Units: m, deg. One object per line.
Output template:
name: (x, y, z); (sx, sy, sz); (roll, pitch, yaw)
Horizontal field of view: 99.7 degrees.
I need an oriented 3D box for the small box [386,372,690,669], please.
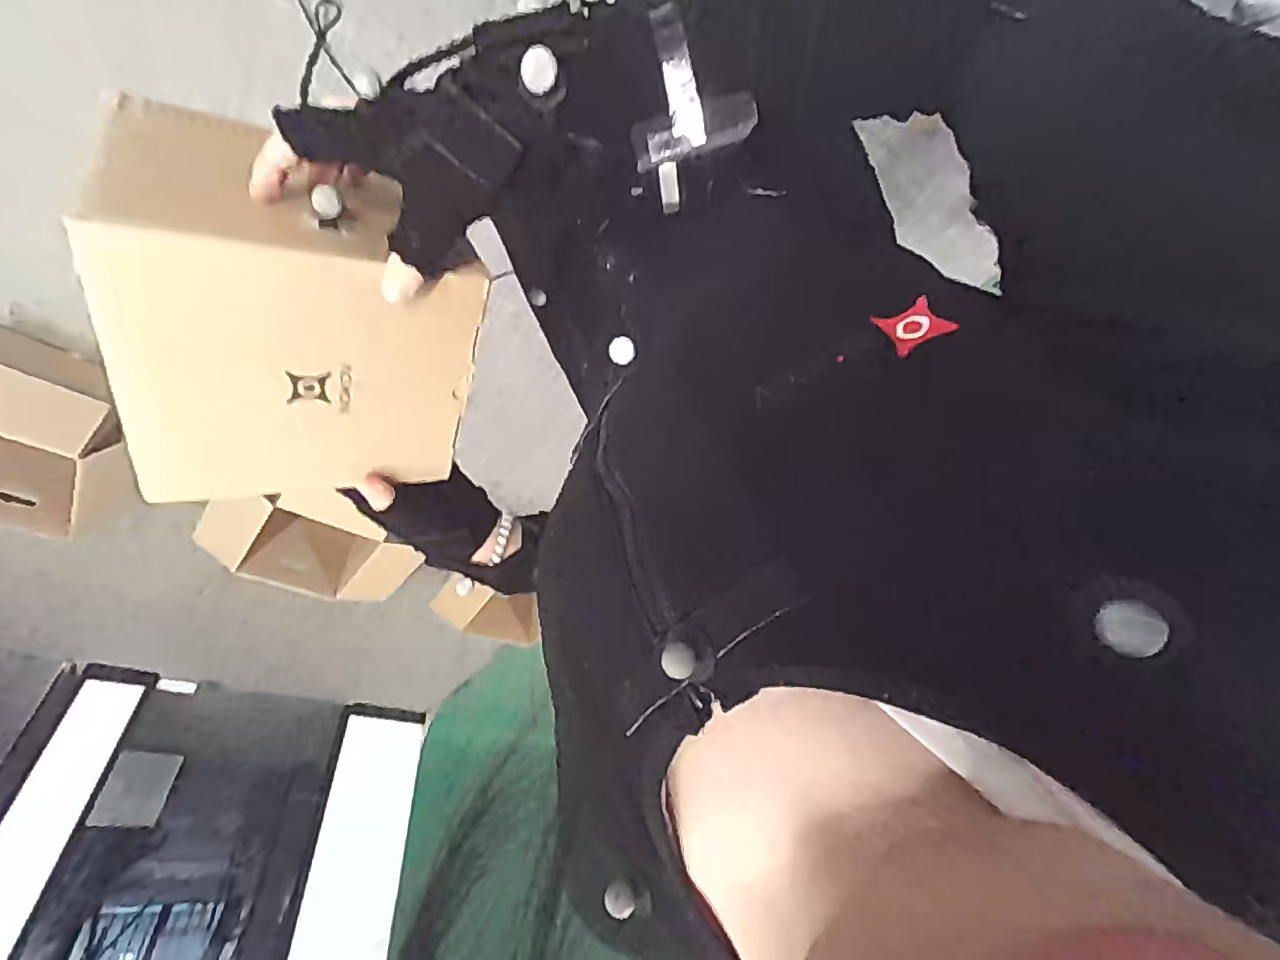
small box: (-0.088, 0.042, 0.488); (0.168, 0.179, 0.176); (-39, 177, -15)
